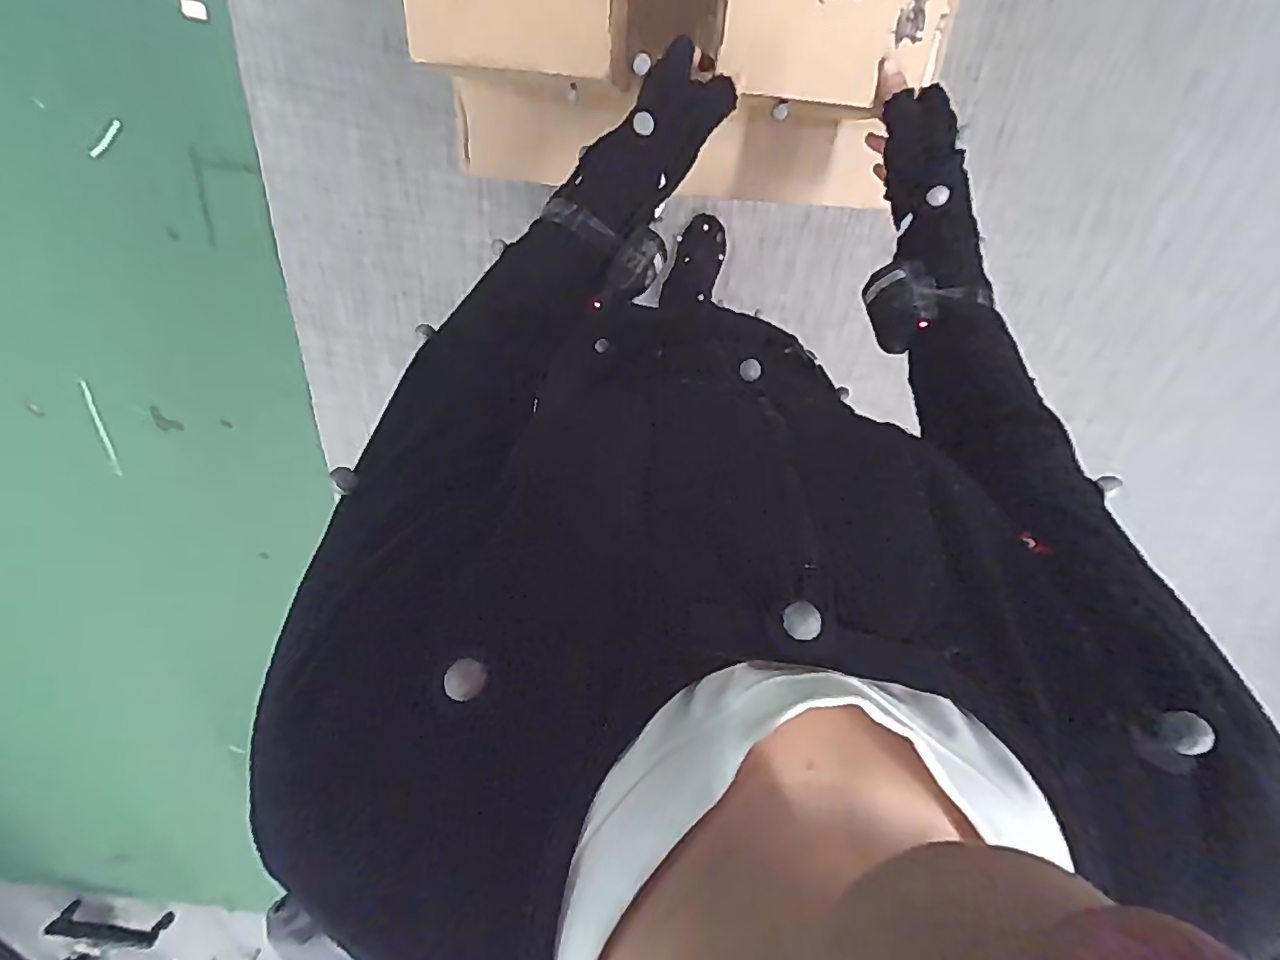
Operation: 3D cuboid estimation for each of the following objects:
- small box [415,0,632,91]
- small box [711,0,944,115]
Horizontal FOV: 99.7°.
[{"bbox_3d":[-0.096,-0.469,0.496,0.179,0.176,0.168,4,121,1],"label":"small box"},{"bbox_3d":[0.165,-0.444,0.496,0.179,0.176,0.168,7,122,0],"label":"small box"}]
